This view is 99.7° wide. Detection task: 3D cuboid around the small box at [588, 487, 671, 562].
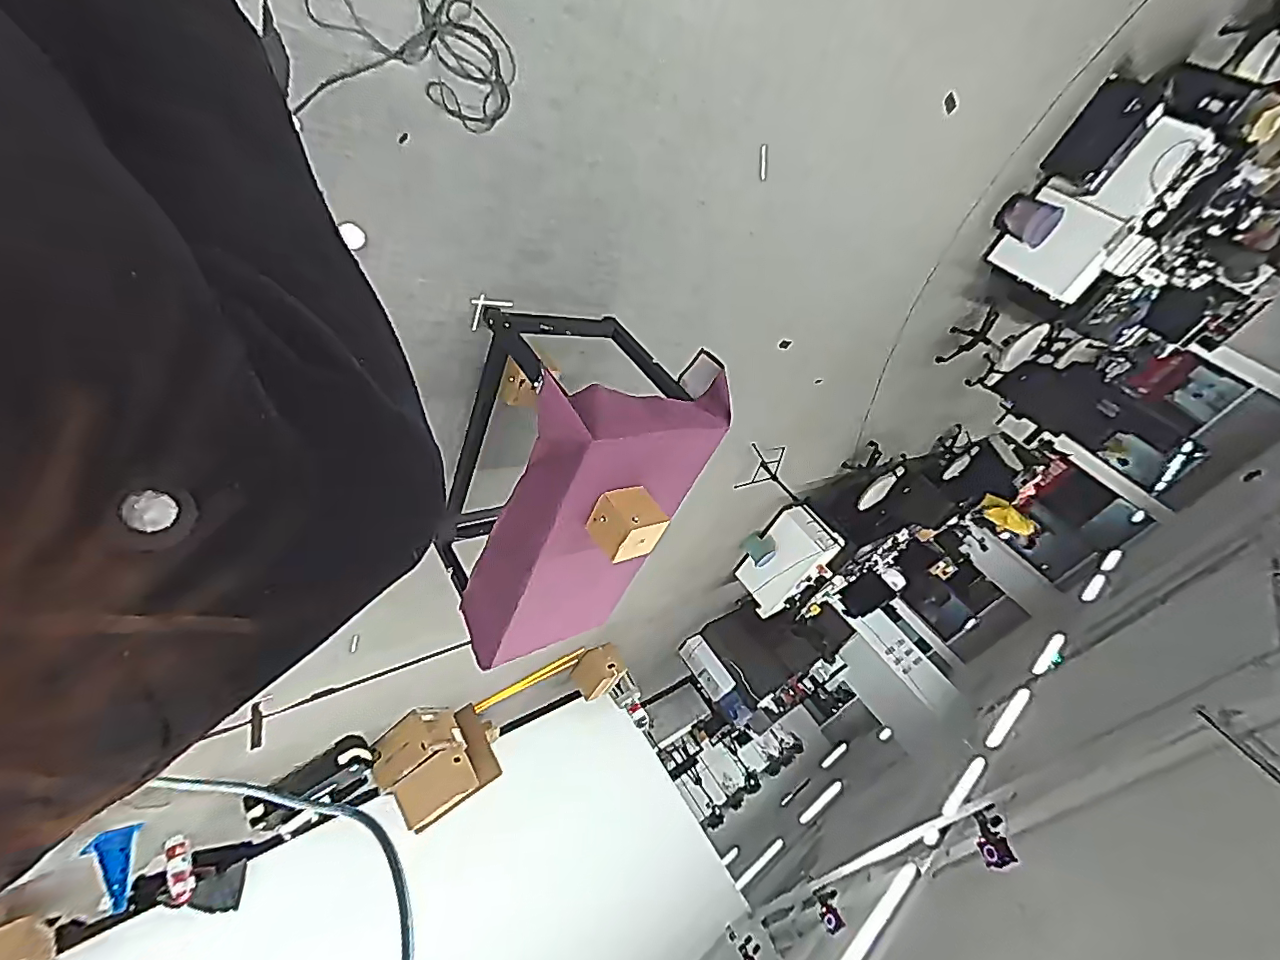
[{"bbox_3d":[-0.038,0.138,1.768,0.179,0.176,0.168,-10,140,-42],"label":"small box"}]
